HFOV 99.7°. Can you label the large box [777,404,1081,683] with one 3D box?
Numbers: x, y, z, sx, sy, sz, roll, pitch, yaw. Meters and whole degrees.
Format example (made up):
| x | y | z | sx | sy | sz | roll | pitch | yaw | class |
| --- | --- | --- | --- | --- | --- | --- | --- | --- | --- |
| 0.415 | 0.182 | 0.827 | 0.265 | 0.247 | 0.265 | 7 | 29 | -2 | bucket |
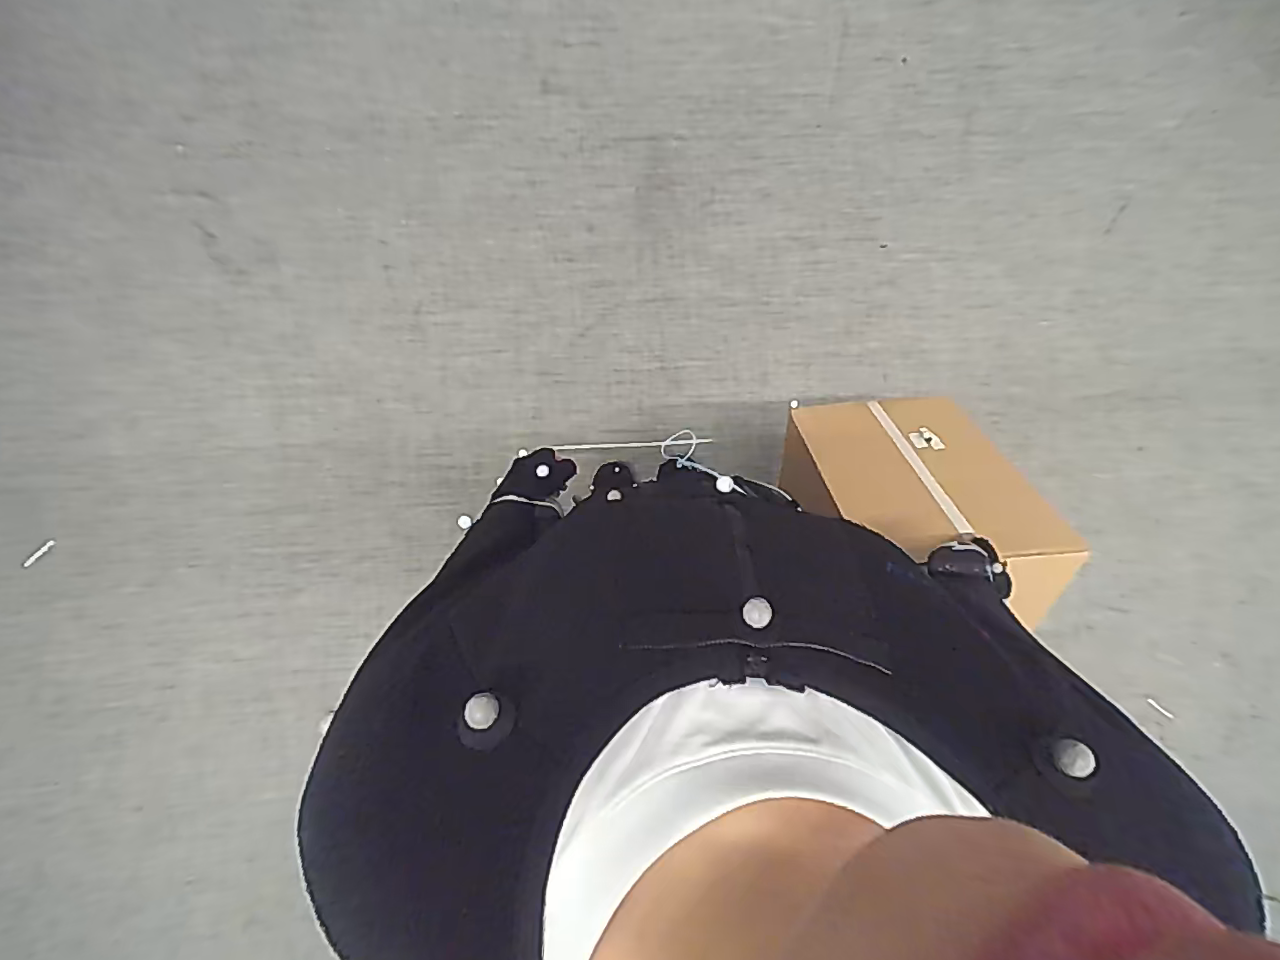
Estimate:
| x | y | z | sx | sy | sz | roll | pitch | yaw | class |
| --- | --- | --- | --- | --- | --- | --- | --- | --- | --- |
| 0.465 | 0.104 | 0.999 | 0.320 | 0.408 | 0.320 | -4 | 129 | -1 | large box |
